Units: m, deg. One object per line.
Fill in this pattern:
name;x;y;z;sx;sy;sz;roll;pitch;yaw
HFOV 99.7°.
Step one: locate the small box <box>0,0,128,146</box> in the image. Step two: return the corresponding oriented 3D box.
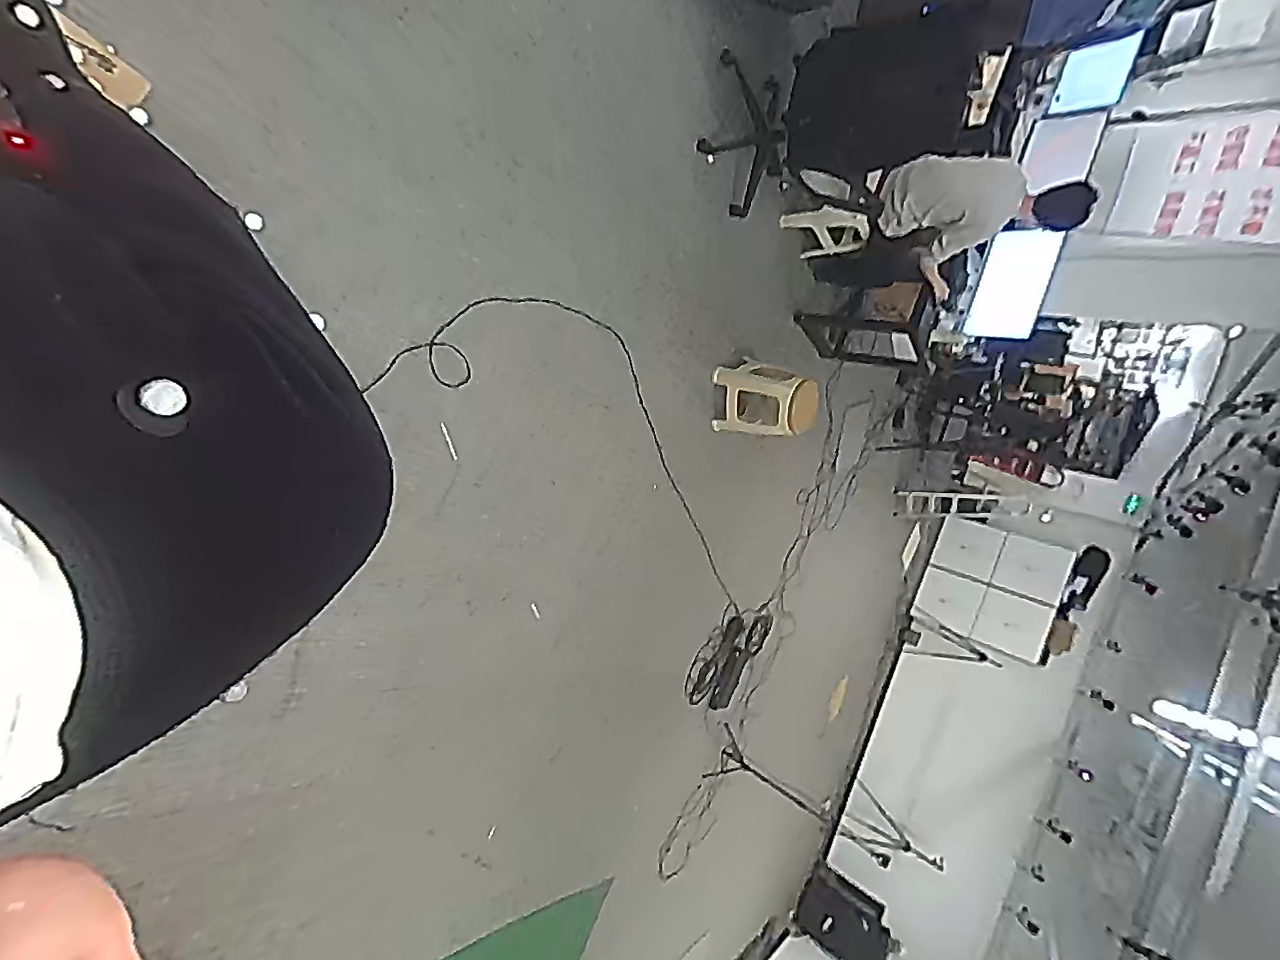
small box;-1.014;-0.701;0.930;0.179;0.176;0.168;-8;110;-47
